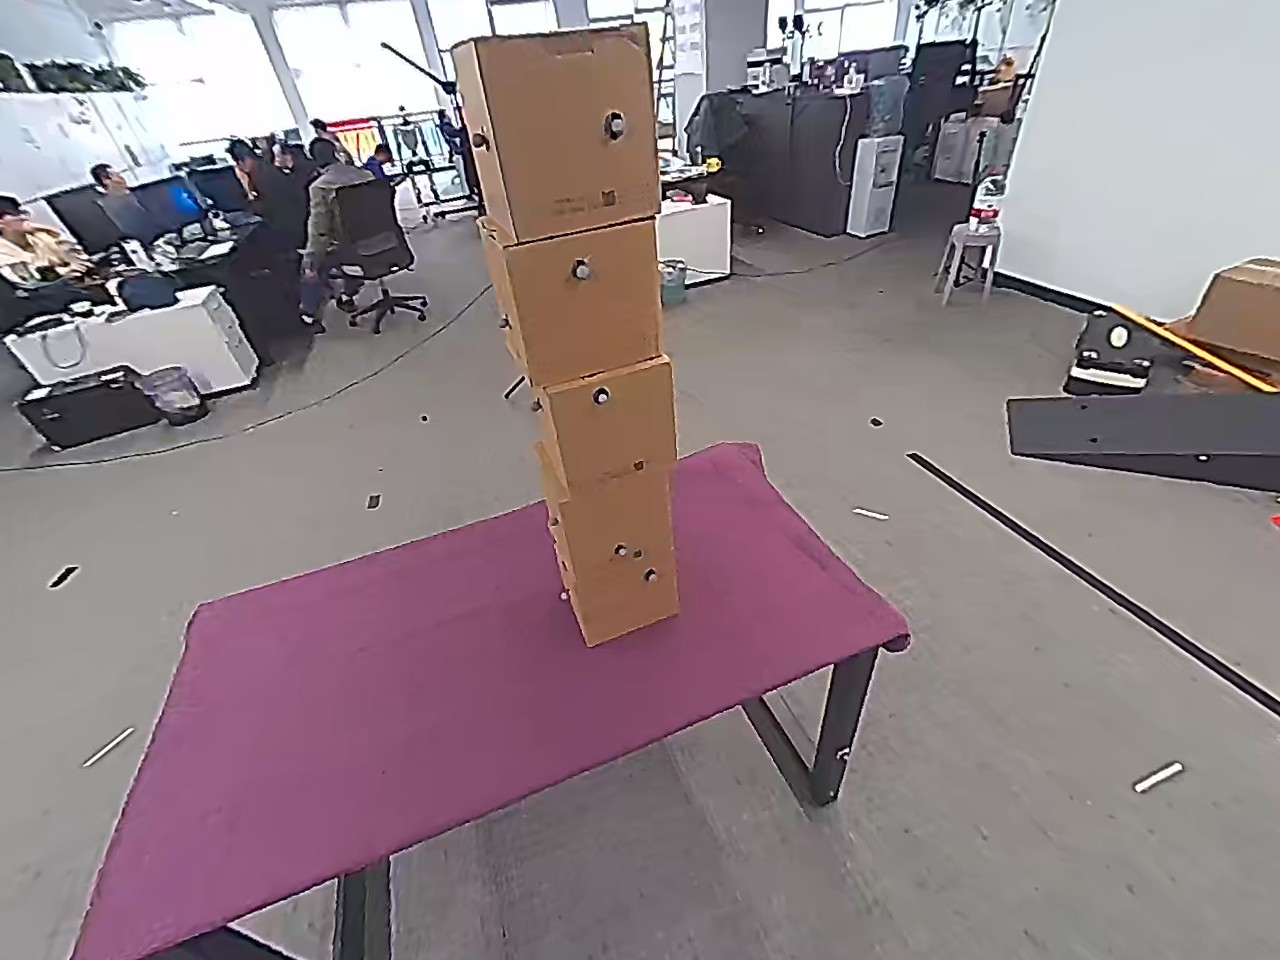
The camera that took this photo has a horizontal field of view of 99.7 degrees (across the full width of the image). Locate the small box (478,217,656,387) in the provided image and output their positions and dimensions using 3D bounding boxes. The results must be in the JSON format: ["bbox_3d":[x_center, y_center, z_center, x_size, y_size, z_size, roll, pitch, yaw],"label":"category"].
[{"bbox_3d":[-0.086,-0.240,0.683,0.179,0.176,0.168,-19,39,-14],"label":"small box"}]

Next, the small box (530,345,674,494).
[{"bbox_3d":[-0.060,-0.107,0.774,0.168,0.176,0.179,-18,38,-14],"label":"small box"}]

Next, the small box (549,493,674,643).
[{"bbox_3d":[-0.047,0.157,0.968,0.179,0.176,0.168,-18,38,-13],"label":"small box"}]

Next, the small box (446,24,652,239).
[{"bbox_3d":[-0.095,-0.372,0.589,0.168,0.176,0.179,-18,38,-16],"label":"small box"}]
